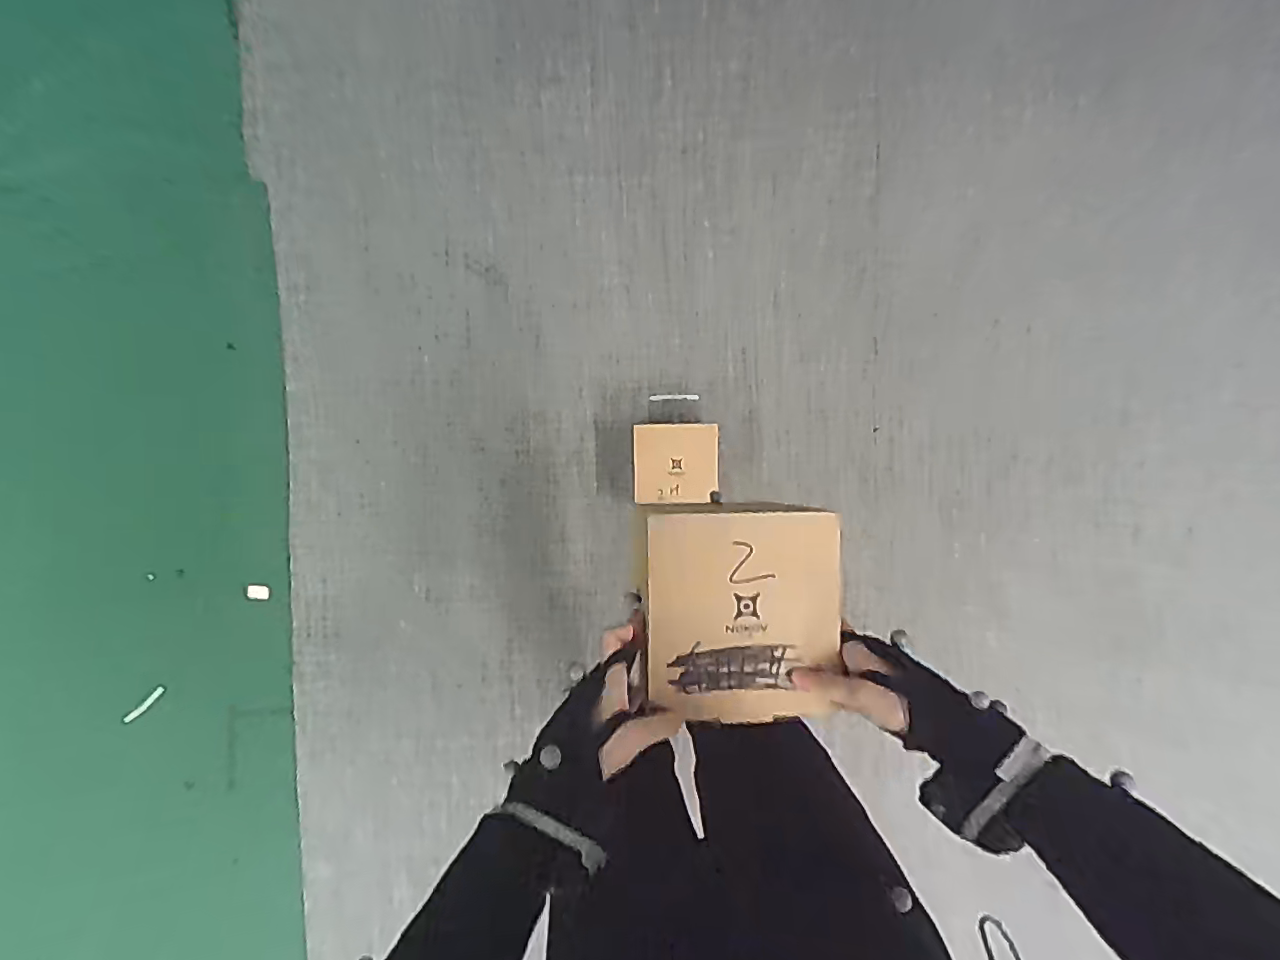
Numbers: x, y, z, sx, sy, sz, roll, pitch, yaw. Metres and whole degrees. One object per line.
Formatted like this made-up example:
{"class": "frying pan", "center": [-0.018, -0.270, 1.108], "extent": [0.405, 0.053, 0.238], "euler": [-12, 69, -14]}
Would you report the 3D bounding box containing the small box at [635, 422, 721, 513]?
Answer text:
{"class": "small box", "center": [0.073, -0.027, 1.123], "extent": [0.168, 0.176, 0.179], "euler": [0, 94, 1]}
